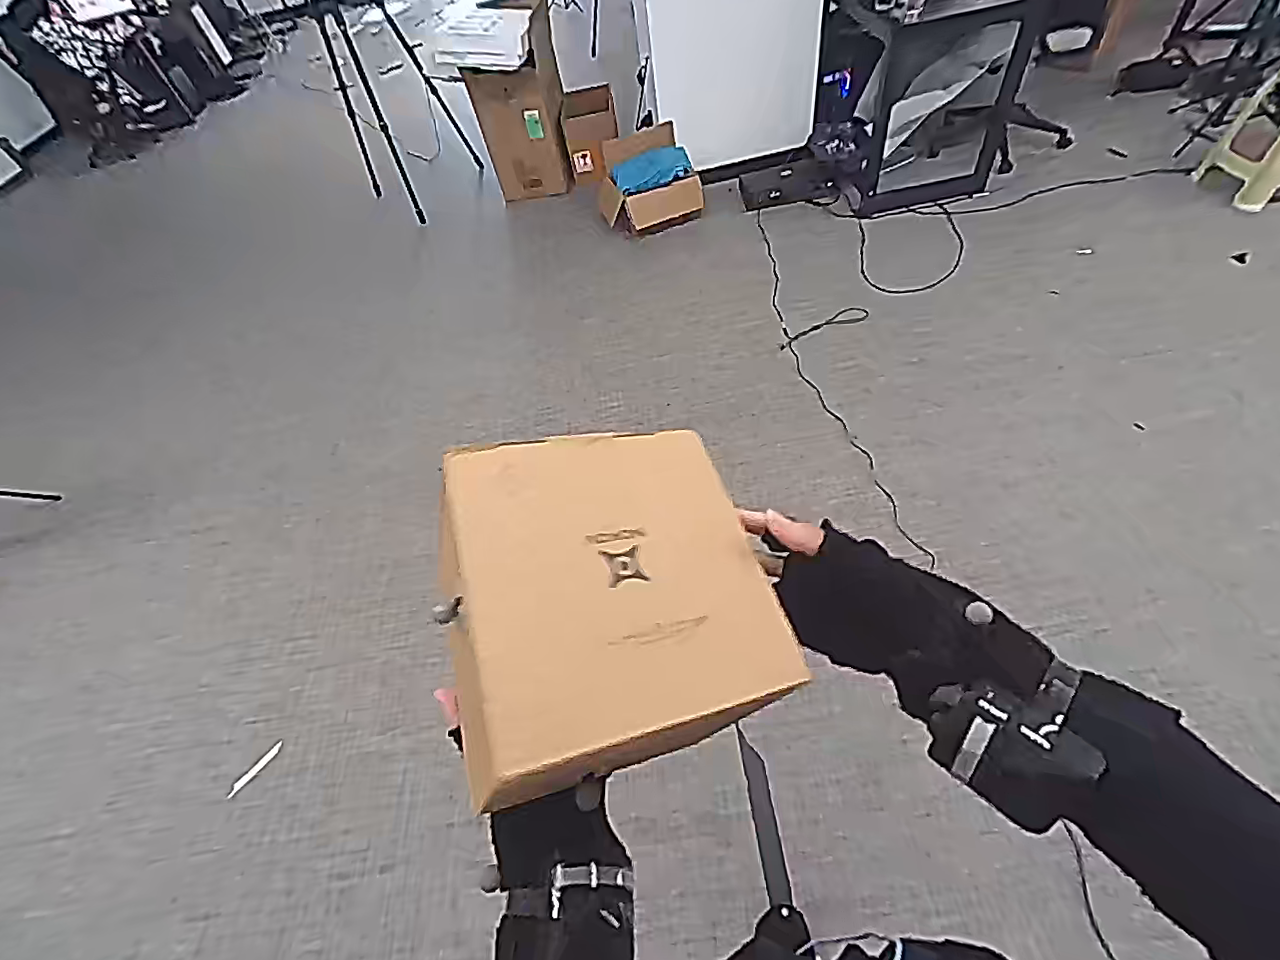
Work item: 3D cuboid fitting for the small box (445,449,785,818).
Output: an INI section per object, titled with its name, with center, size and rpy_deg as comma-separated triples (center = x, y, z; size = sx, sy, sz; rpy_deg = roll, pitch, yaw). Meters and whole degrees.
[small box]
center = -0.040, 0.102, 0.371
size = 0.168, 0.176, 0.179
rpy_deg = -7, 56, -23
